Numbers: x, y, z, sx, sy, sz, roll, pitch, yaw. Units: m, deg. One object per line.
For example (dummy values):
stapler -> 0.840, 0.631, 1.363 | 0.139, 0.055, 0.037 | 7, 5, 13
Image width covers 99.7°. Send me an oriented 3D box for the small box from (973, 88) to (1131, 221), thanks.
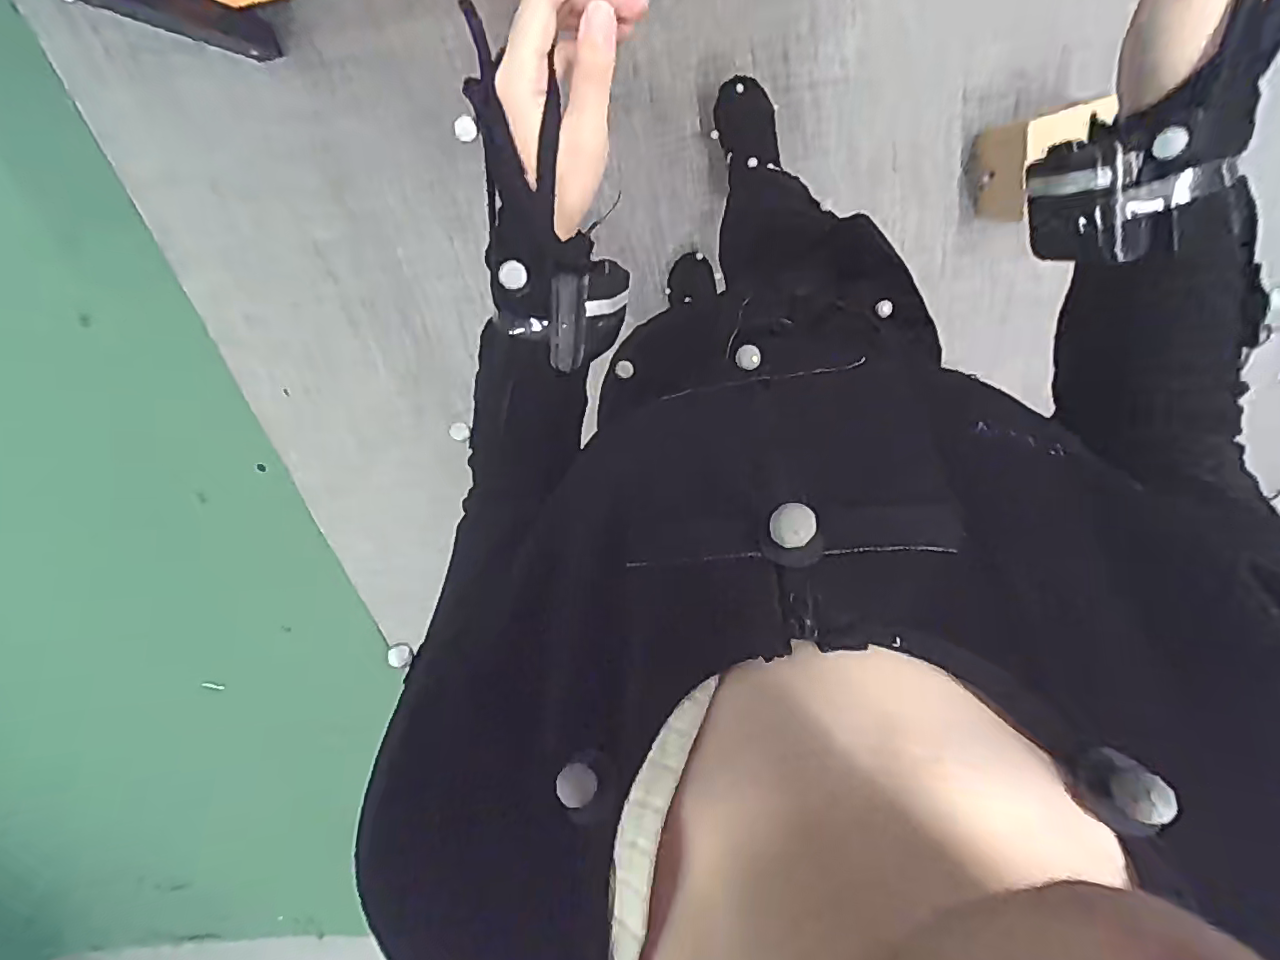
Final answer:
small box -> 0.765, -0.607, 1.023 | 0.179, 0.176, 0.168 | -15, 116, 9
